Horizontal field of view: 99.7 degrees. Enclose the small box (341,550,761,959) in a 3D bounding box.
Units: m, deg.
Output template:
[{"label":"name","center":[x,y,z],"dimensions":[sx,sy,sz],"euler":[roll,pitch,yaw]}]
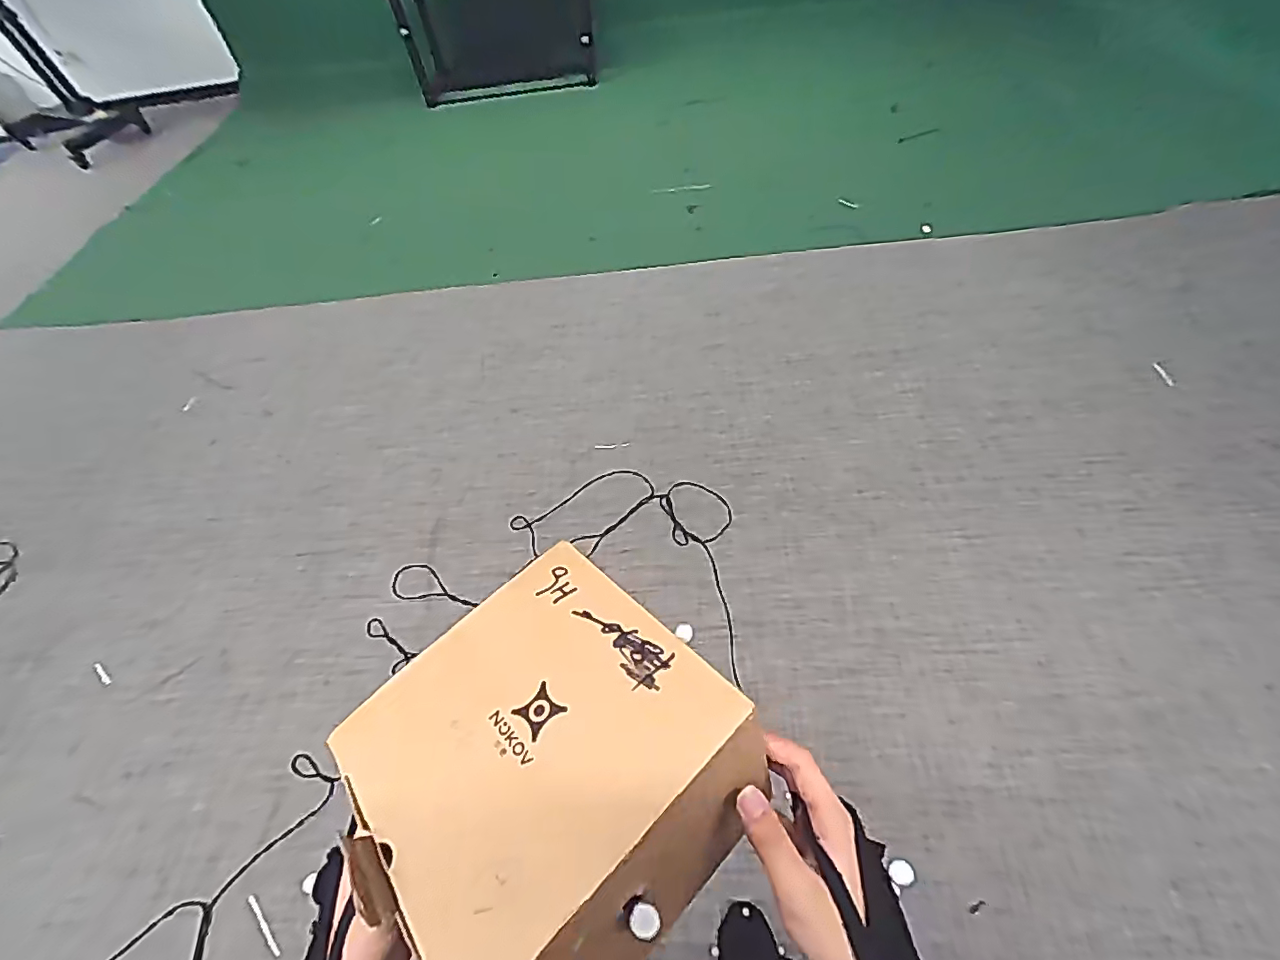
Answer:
[{"label":"small box","center":[-0.038,0.186,0.344],"dimensions":[0.179,0.176,0.168],"euler":[-42,50,-20]}]
